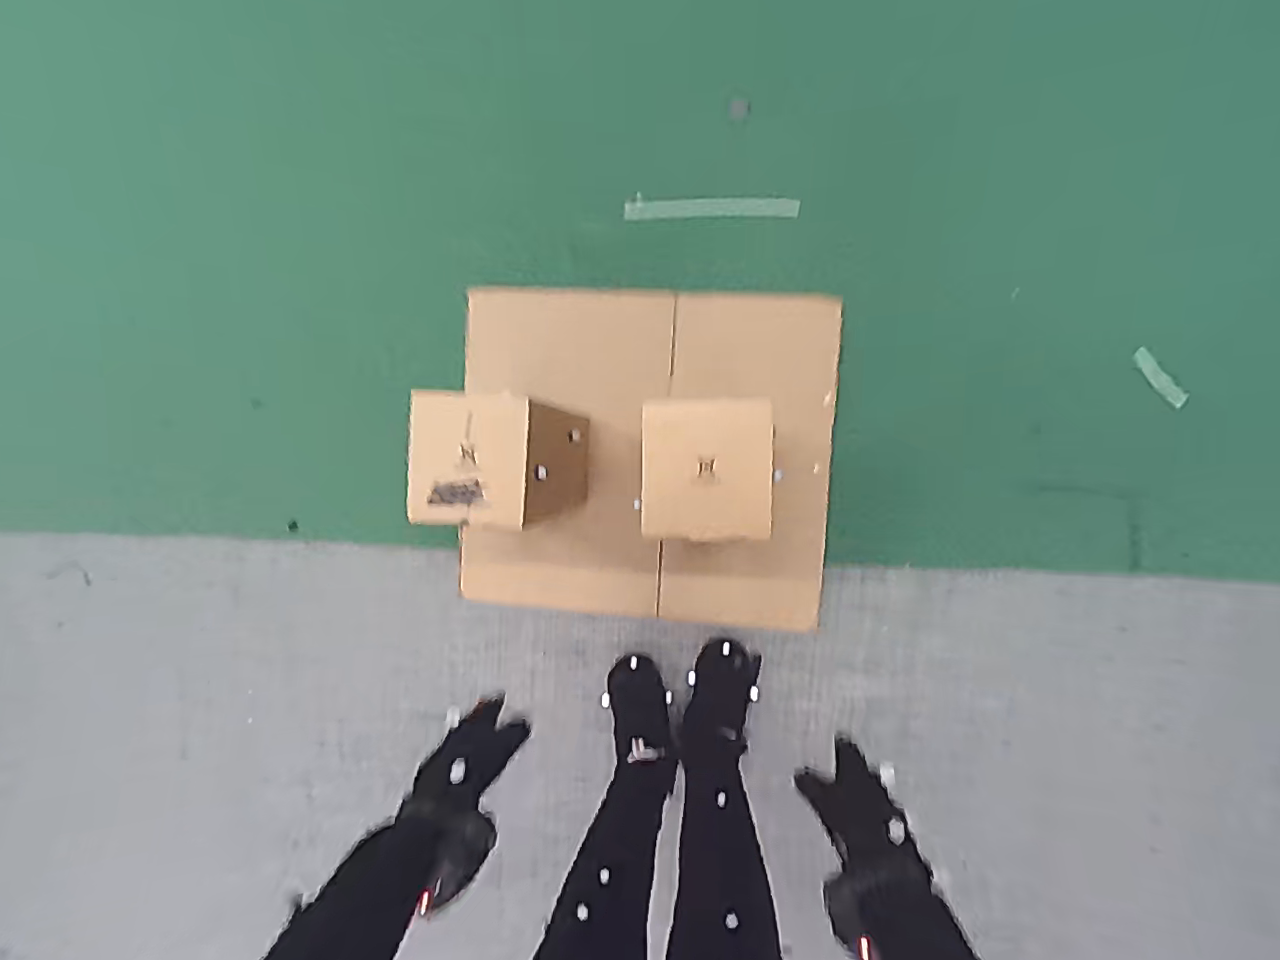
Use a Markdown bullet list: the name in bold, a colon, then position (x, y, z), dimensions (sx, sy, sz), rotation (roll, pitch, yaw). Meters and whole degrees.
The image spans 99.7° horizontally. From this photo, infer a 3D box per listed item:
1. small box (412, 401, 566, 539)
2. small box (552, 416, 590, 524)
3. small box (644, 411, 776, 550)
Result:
- **small box**: position (-0.212, -0.016, 0.797), dimensions (0.168, 0.176, 0.179), rotation (4, 92, 8)
- **small box**: position (-0.188, -0.021, 0.960), dimensions (0.168, 0.176, 0.179), rotation (2, 93, 9)
- **small box**: position (0.096, -0.002, 0.762), dimensions (0.168, 0.176, 0.179), rotation (0, 92, 7)
